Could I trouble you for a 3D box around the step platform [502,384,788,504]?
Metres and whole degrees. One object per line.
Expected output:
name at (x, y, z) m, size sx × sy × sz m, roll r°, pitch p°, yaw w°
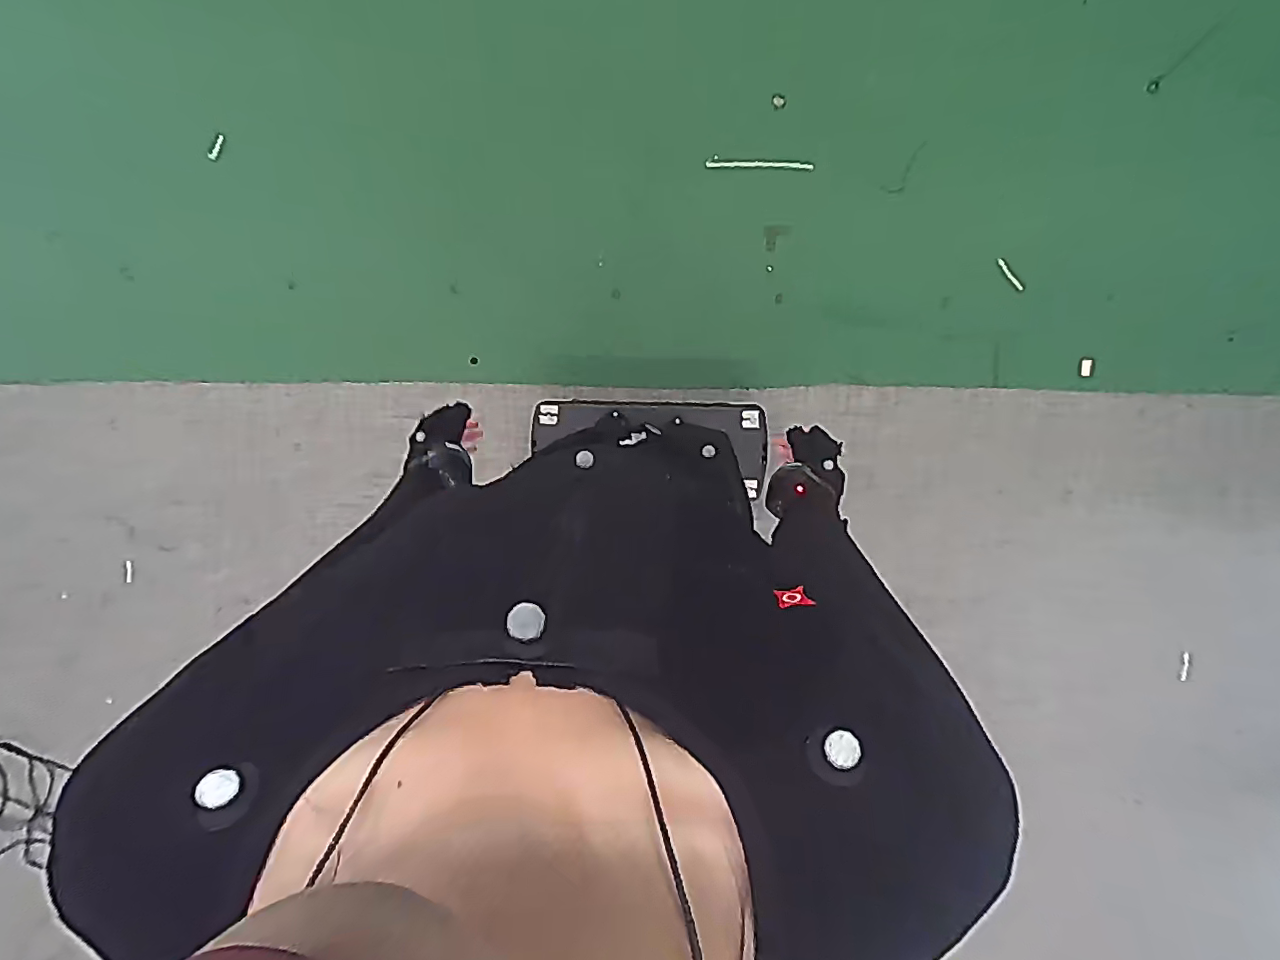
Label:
step platform at (0.012, -0.095, 1.381) m, size 0.684 × 0.204 × 0.286 m, roll 0°, pitch 97°, yaw 1°
